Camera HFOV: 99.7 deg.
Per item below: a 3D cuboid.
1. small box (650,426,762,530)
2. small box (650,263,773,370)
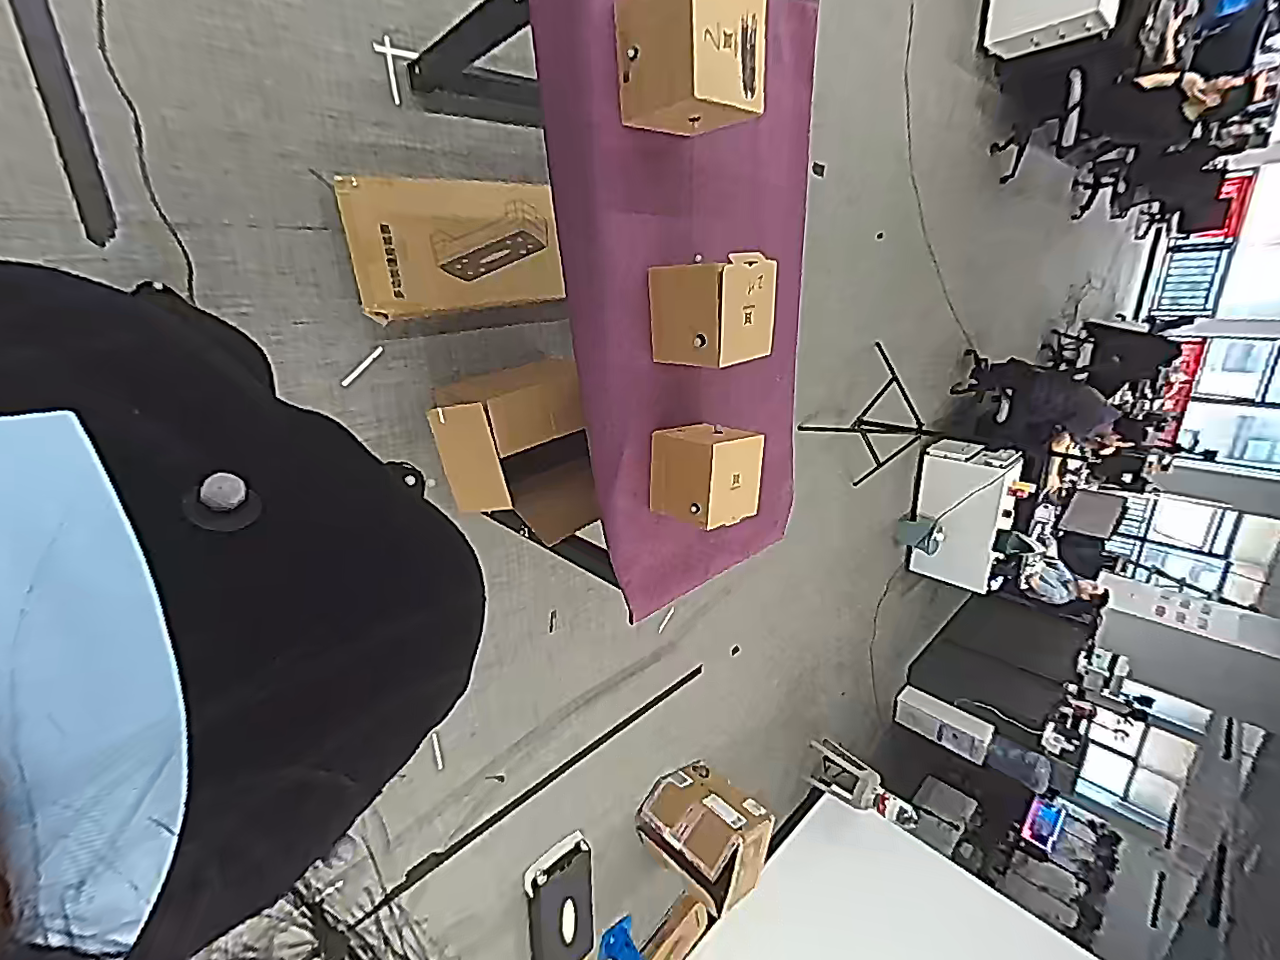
[{"bbox_3d":[0.134,-0.015,1.133,0.168,0.176,0.179,-13,112,-41],"label":"small box"},{"bbox_3d":[0.134,-0.317,1.033,0.168,0.176,0.179,-23,118,-41],"label":"small box"}]
